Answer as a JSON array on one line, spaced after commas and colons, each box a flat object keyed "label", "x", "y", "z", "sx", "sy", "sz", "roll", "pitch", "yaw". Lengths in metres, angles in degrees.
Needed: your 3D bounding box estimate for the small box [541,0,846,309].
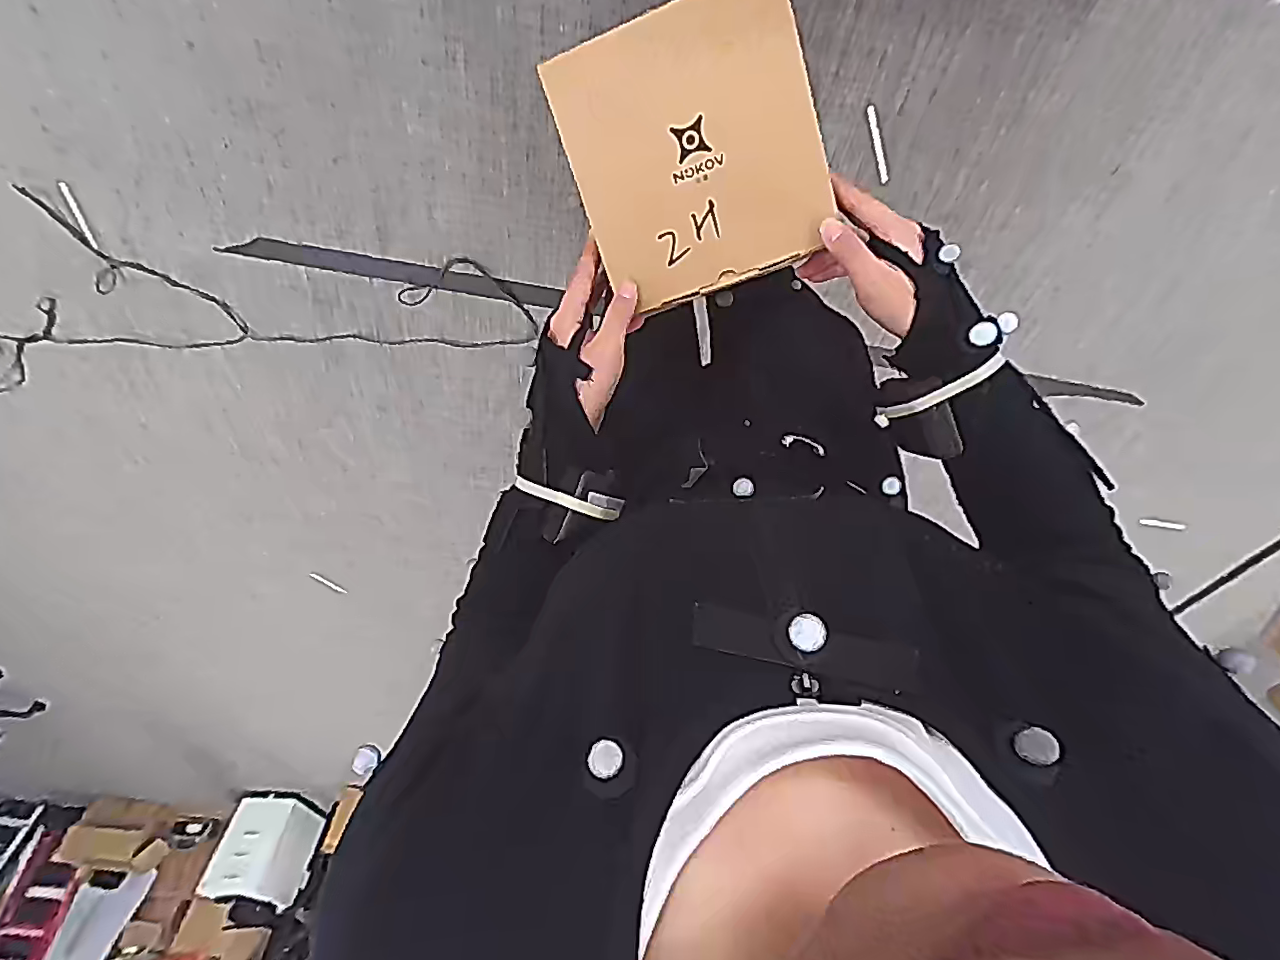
[{"label": "small box", "x": 0.043, "y": -0.247, "z": 0.434, "sx": 0.168, "sy": 0.176, "sz": 0.179, "roll": -17, "pitch": 105, "yaw": 11}]
